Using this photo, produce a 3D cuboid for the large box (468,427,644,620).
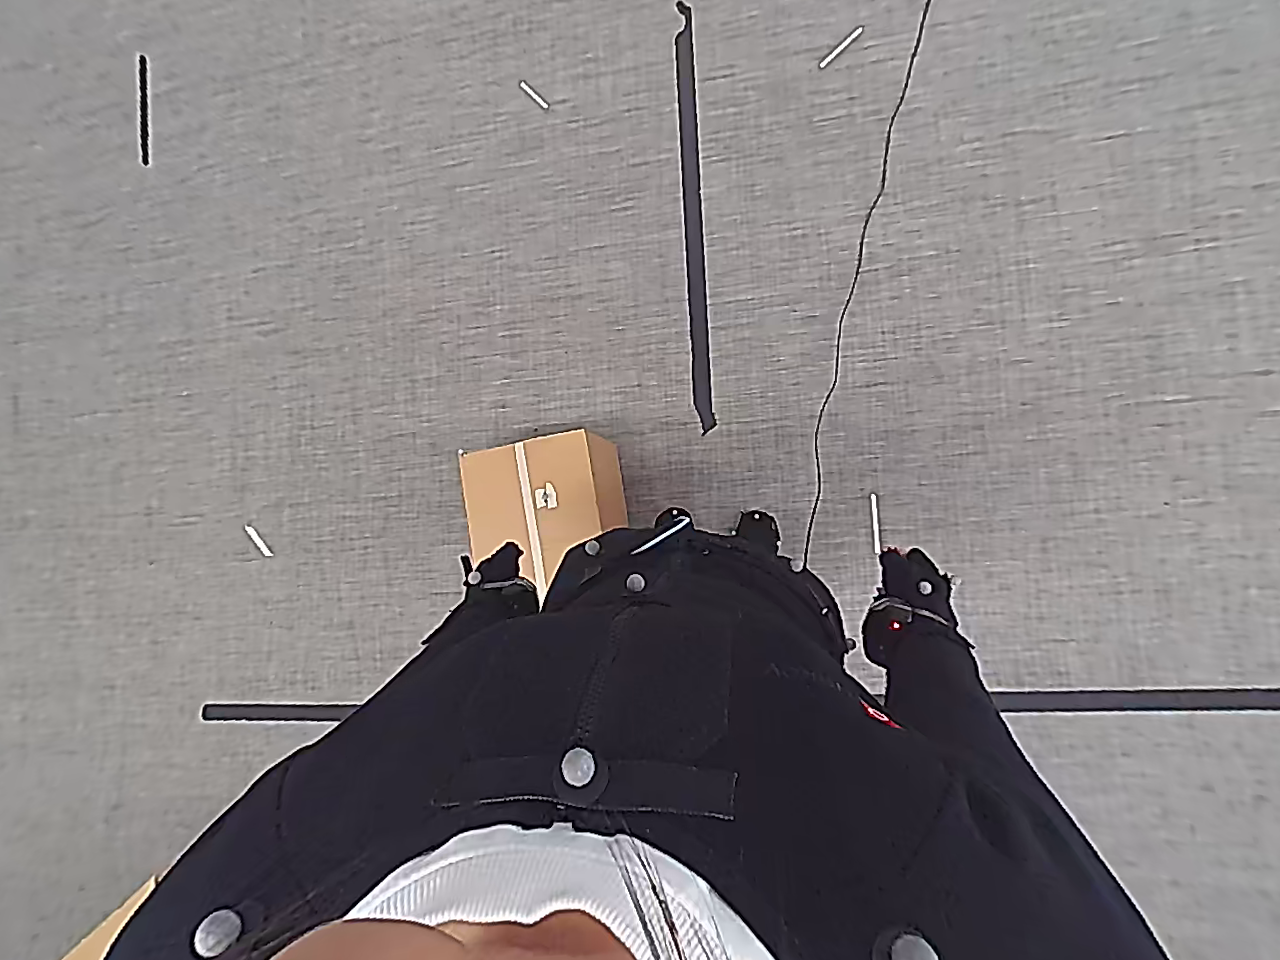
[{"bbox_3d":[-0.197,0.111,1.376,0.320,0.320,0.408,-11,84,10],"label":"large box"}]
